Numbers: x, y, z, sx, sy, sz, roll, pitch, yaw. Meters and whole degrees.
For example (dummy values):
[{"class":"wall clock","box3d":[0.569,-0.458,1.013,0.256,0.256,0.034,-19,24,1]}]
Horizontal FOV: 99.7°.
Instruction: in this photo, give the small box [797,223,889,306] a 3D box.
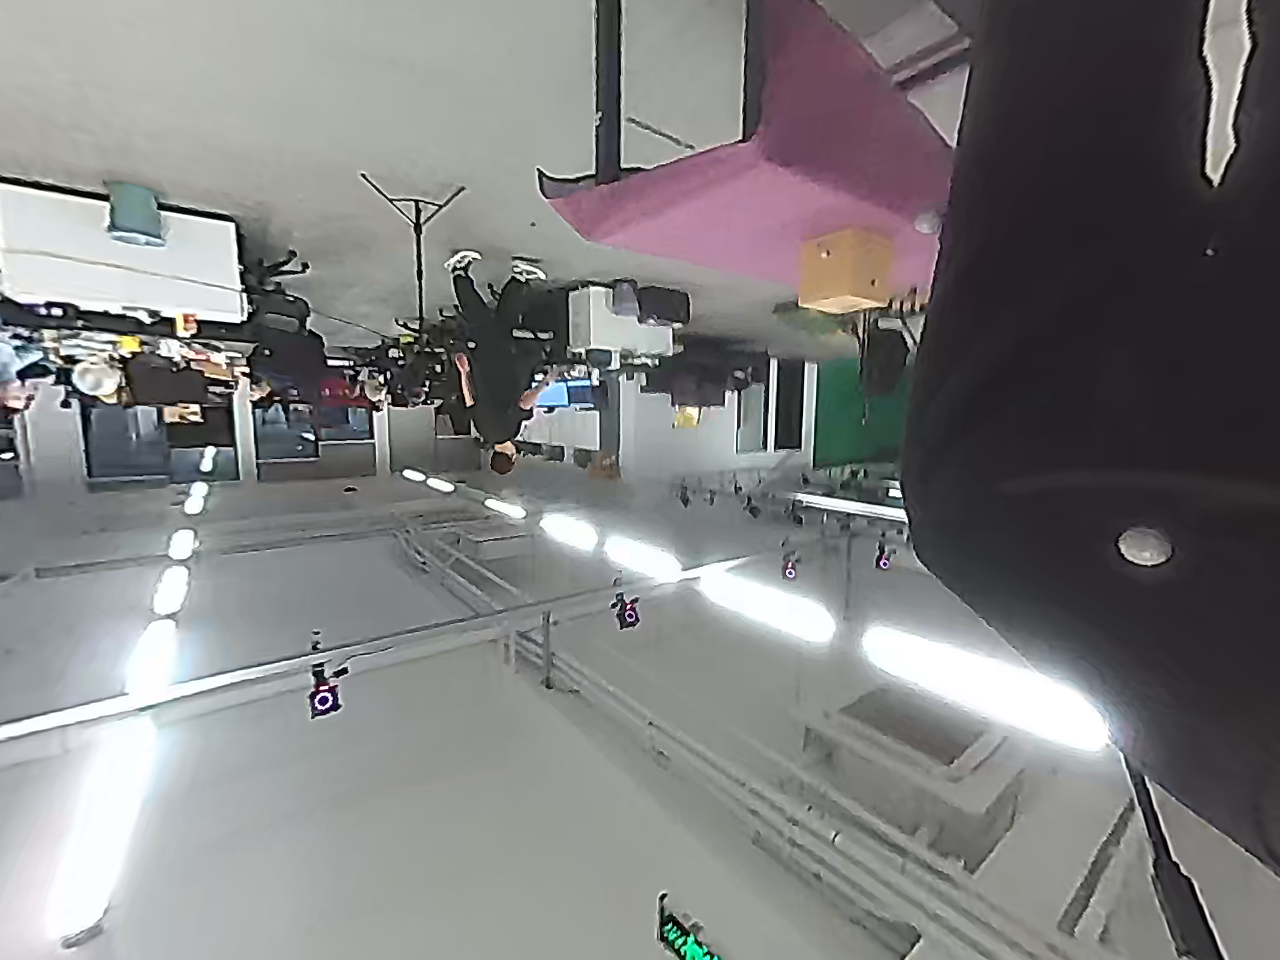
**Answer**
[{"class":"small box","box3d":[0.543,-0.571,1.445,0.179,0.176,0.168,-4,-171,-33]}]
